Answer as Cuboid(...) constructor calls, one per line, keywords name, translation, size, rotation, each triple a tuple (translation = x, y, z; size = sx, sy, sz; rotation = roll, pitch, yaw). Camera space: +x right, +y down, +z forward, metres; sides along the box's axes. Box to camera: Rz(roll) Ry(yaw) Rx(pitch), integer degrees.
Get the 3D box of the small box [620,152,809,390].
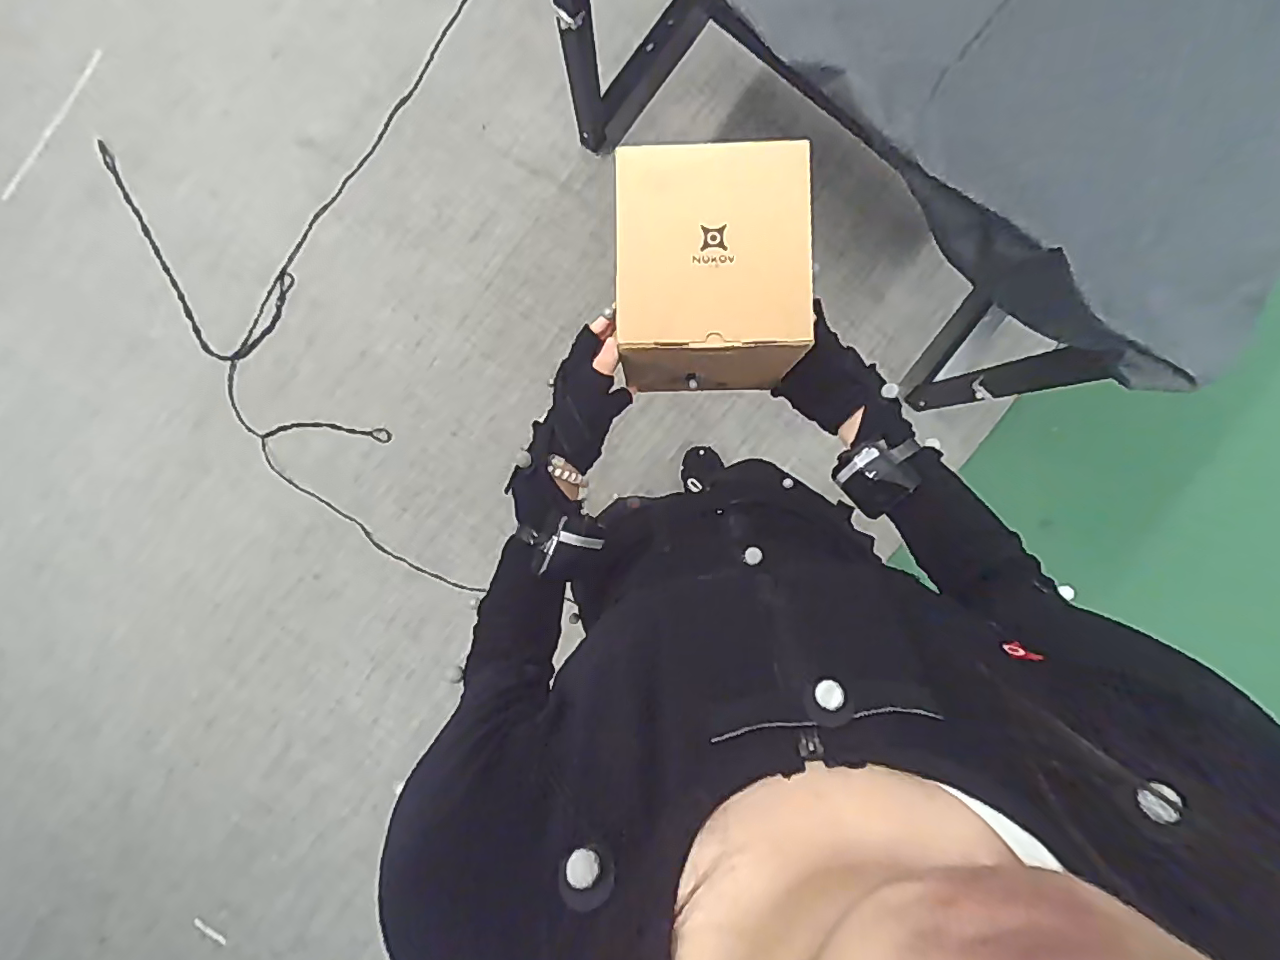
Cuboid(name="small box", translation=(0.065, -0.196, 0.549), size=(0.168, 0.176, 0.179), rotation=(-1, 88, 2))
